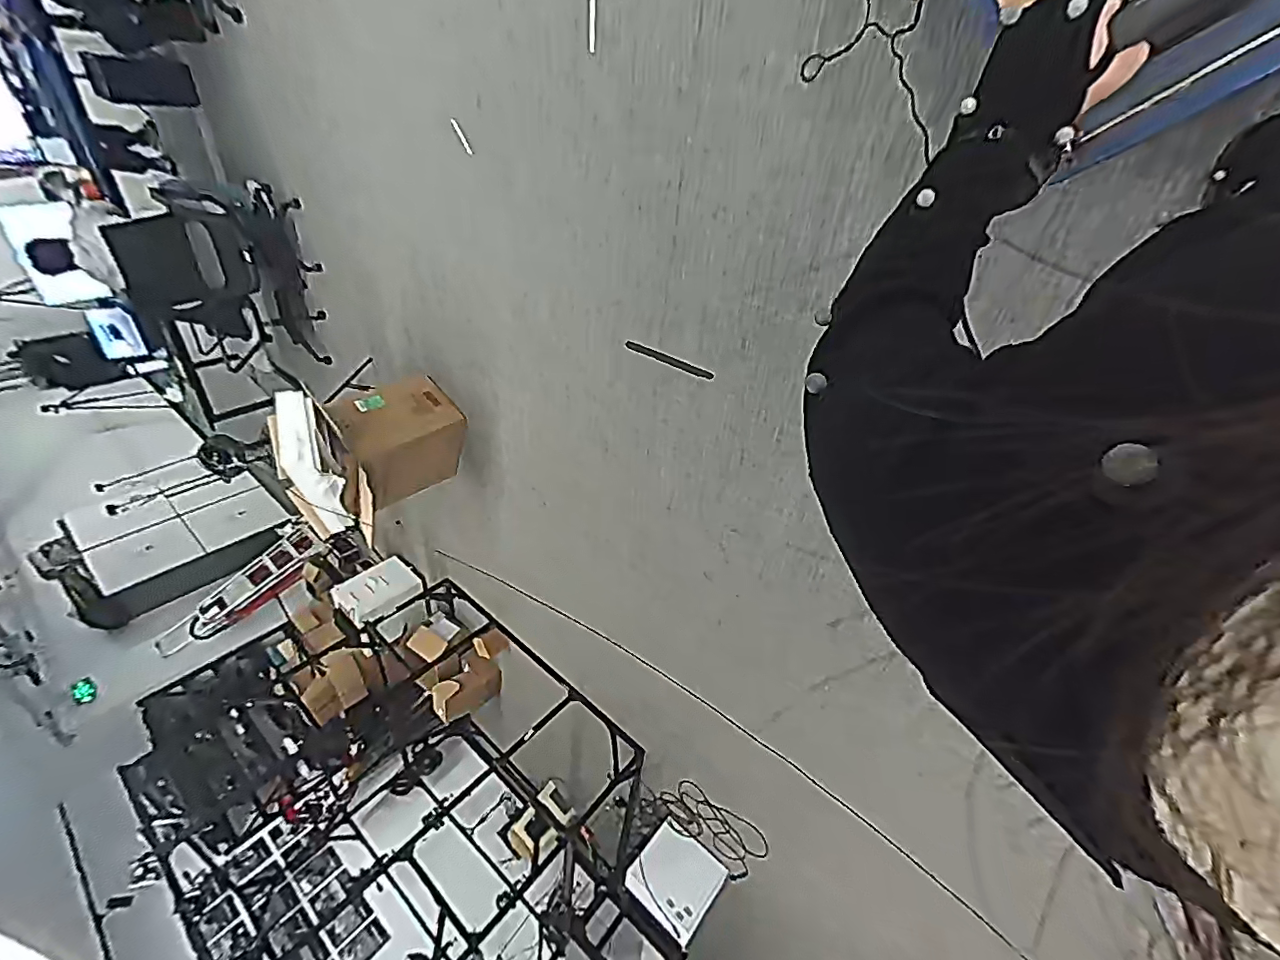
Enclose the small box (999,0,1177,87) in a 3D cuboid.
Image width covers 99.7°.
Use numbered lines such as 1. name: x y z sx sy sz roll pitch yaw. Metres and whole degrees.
1. small box: 0.652 -0.716 0.790 0.168 0.176 0.179 -24 97 48
